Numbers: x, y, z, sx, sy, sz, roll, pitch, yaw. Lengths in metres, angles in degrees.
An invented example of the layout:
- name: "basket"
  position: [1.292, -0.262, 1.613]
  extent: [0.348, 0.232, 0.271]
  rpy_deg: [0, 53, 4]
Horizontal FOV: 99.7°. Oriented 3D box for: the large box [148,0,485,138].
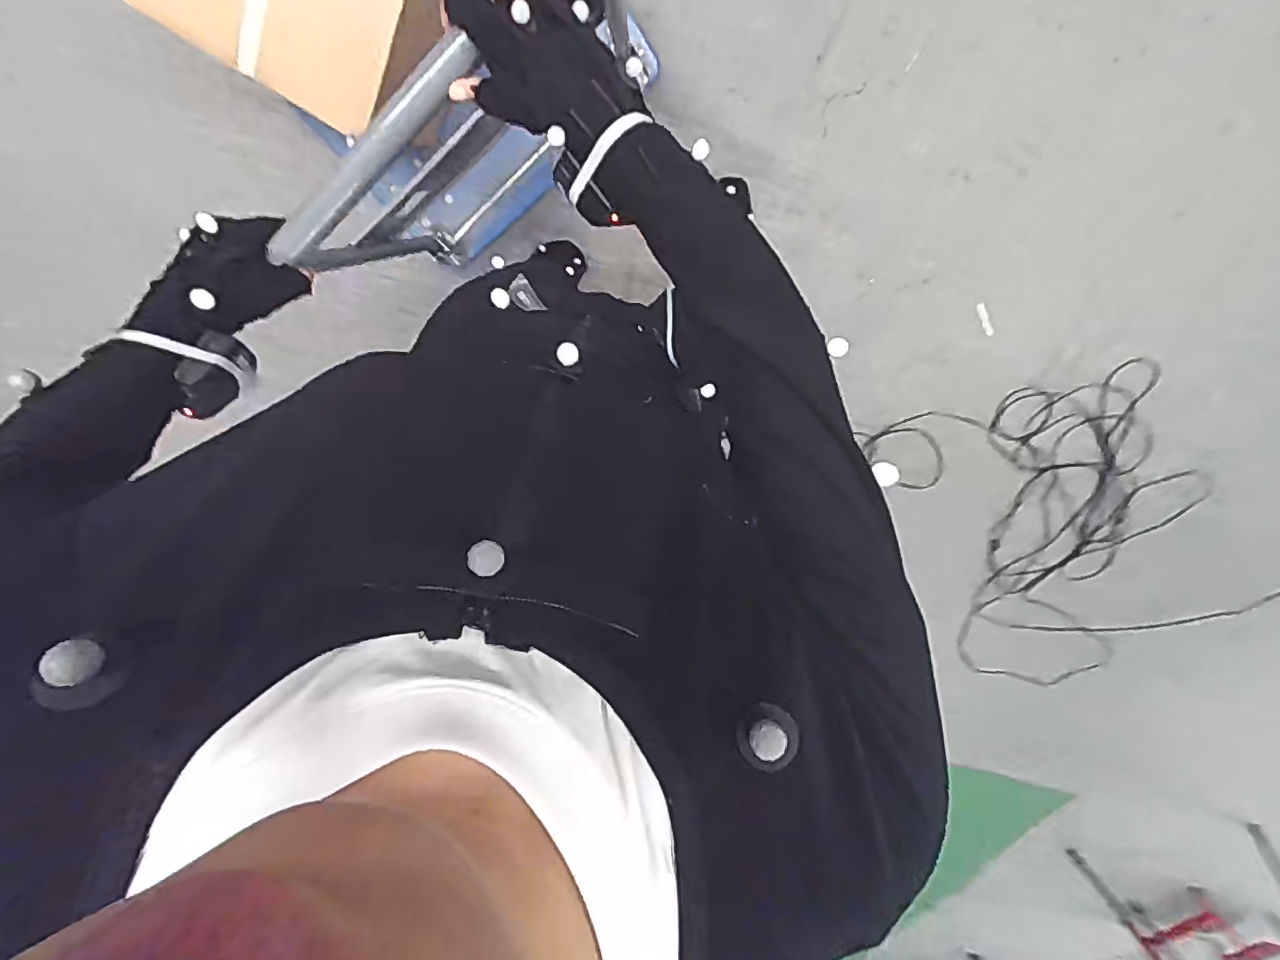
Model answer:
- name: "large box"
  position: [-0.408, -0.778, 0.767]
  extent: [0.320, 0.320, 0.408]
  rpy_deg: [28, 118, -15]
